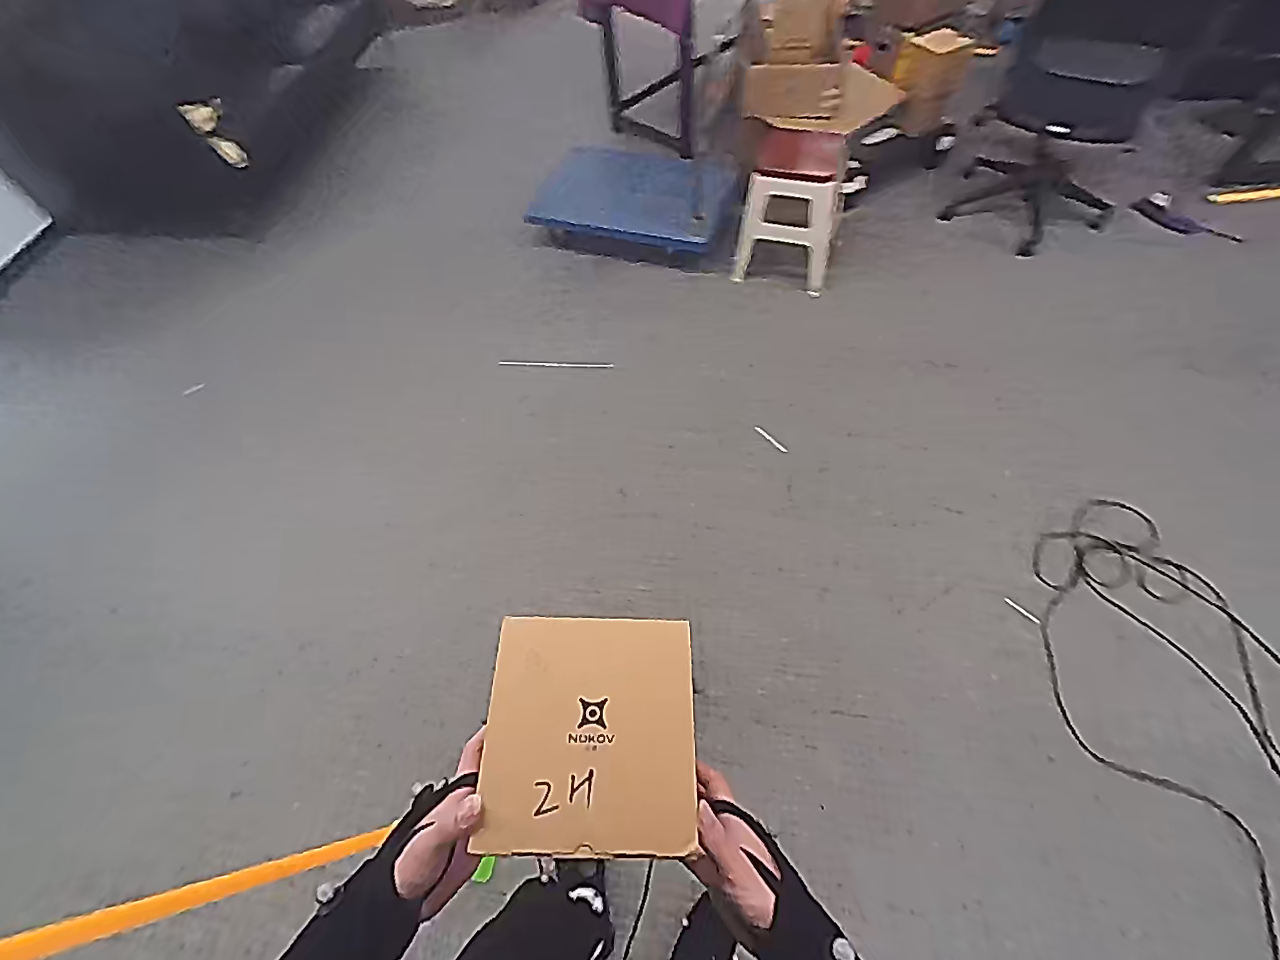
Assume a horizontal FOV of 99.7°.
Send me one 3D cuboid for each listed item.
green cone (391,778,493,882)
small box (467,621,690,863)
[{"bbox_3d":[-0.465,0.792,1.218,0.202,0.368,0.200,6,60,8],"label":"green cone"},{"bbox_3d":[-0.046,0.245,0.503,0.168,0.176,0.179,2,57,-1],"label":"small box"}]
